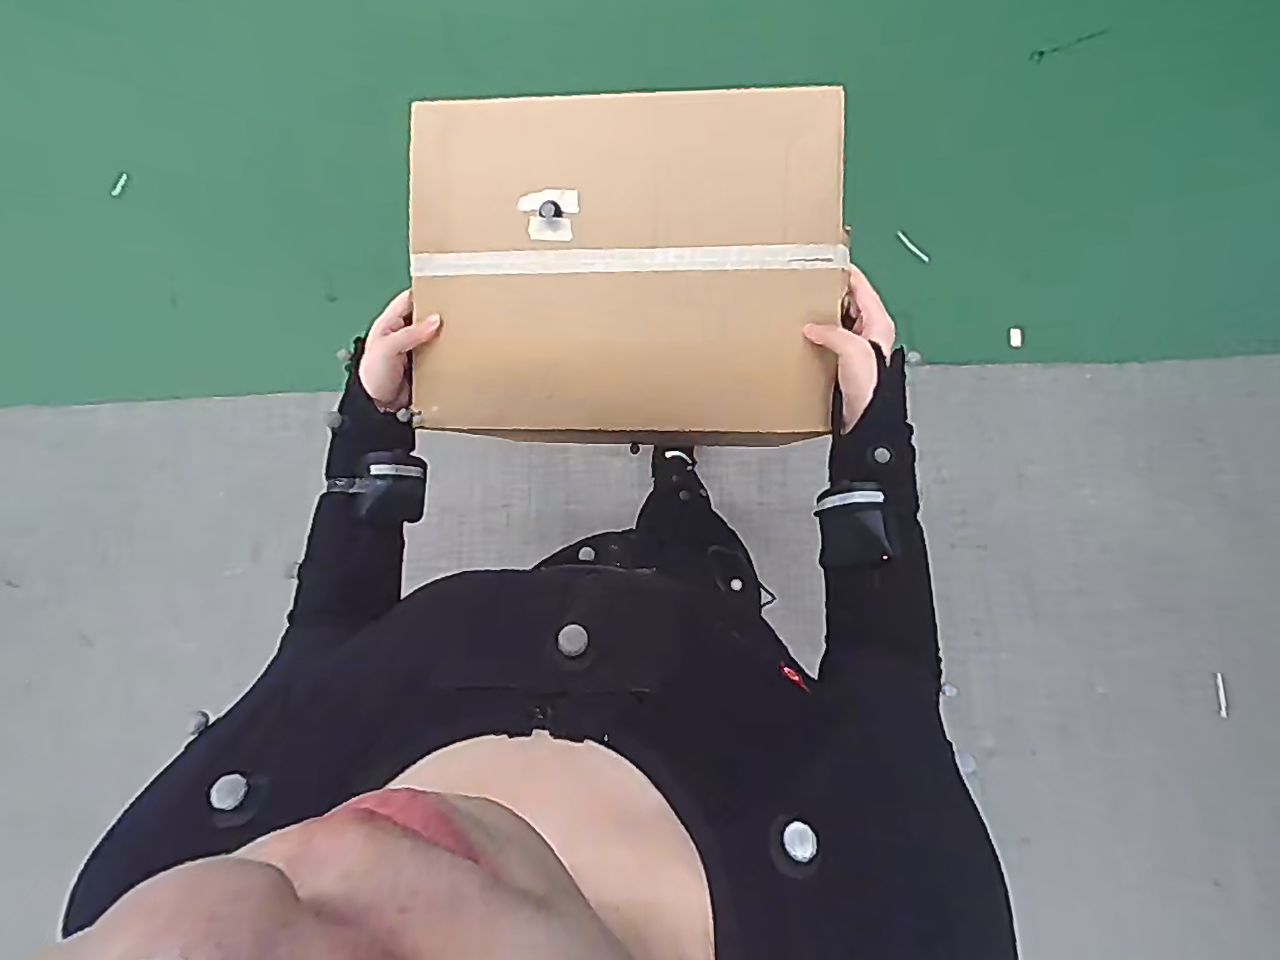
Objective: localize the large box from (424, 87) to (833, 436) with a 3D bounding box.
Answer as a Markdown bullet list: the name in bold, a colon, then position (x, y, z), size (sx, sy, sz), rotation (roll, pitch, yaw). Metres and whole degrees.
- **large box**: position (-0.001, -0.214, 0.670), size (0.408, 0.320, 0.320), rotation (1, 91, 6)
